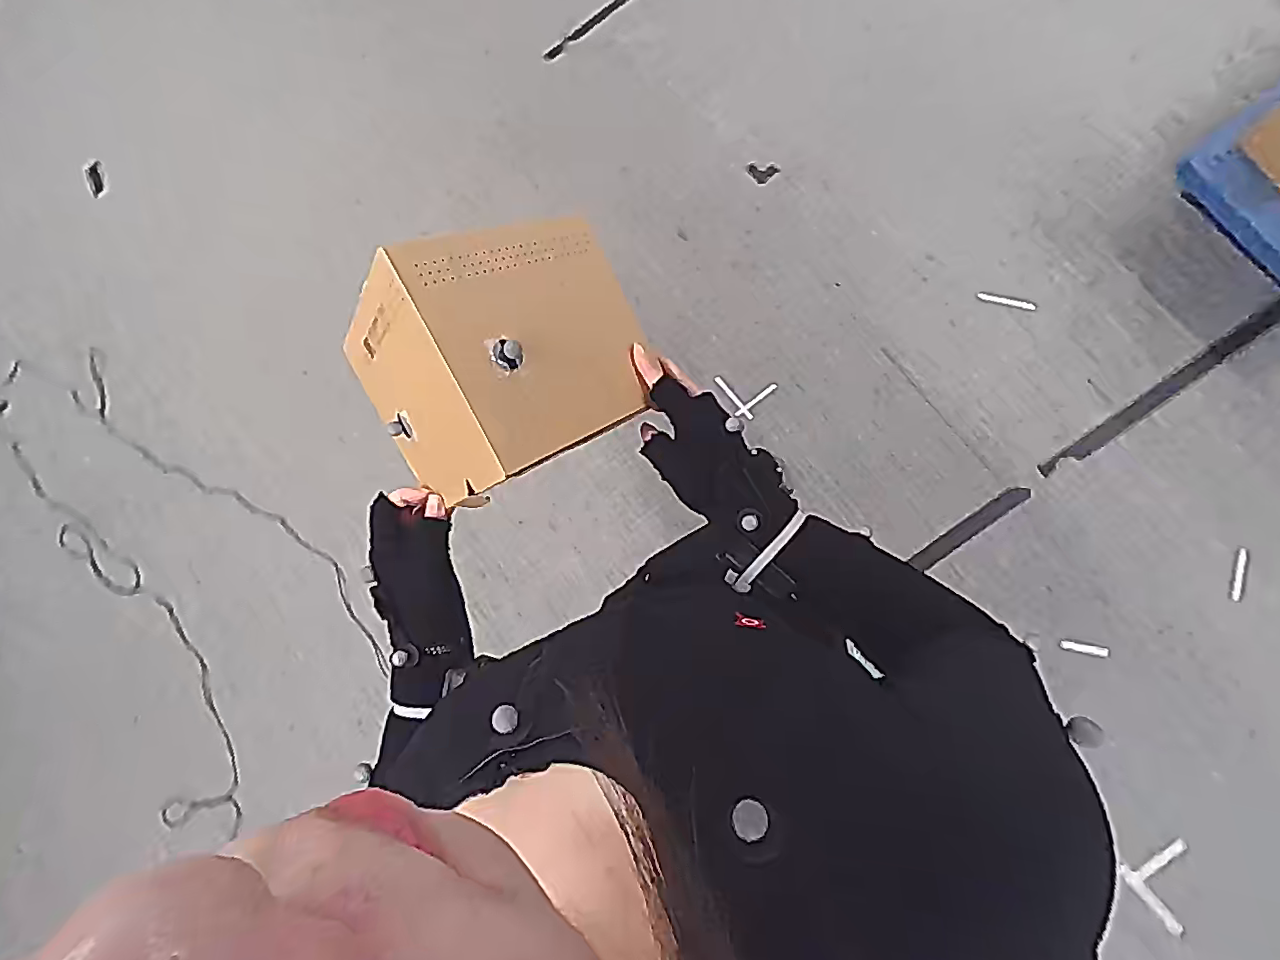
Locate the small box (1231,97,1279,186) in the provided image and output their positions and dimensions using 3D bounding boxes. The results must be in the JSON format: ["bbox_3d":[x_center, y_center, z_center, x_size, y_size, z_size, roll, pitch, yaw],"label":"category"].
[{"bbox_3d":[1.426,-0.750,1.121,0.168,0.176,0.179,-33,82,3],"label":"small box"}]

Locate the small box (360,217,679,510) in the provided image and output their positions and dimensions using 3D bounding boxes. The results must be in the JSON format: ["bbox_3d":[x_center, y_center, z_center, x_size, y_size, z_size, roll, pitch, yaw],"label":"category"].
[{"bbox_3d":[-0.106,-0.096,0.461,0.179,0.168,0.176,-32,99,-37],"label":"small box"}]
